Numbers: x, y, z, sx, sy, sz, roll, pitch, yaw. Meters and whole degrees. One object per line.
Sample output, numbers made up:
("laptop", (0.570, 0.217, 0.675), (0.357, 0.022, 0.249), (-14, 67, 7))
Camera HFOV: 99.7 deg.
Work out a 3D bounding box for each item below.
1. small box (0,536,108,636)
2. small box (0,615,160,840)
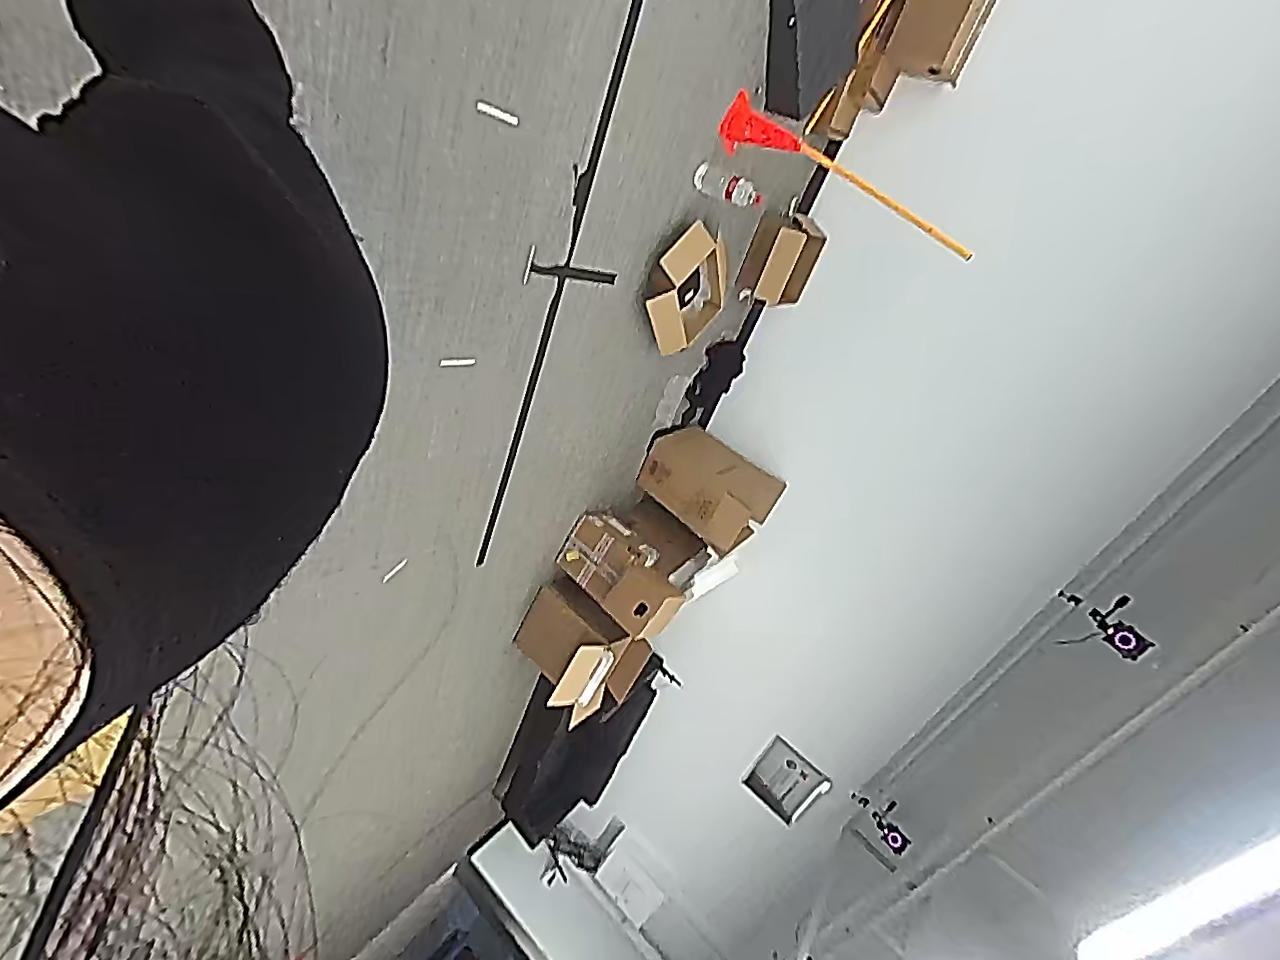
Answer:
("small box", (-0.871, 0.208, 0.749), (0.168, 0.176, 0.179), (-19, 141, -53))
("small box", (-0.749, 0.296, 0.684), (0.168, 0.176, 0.179), (-21, 141, -52))
